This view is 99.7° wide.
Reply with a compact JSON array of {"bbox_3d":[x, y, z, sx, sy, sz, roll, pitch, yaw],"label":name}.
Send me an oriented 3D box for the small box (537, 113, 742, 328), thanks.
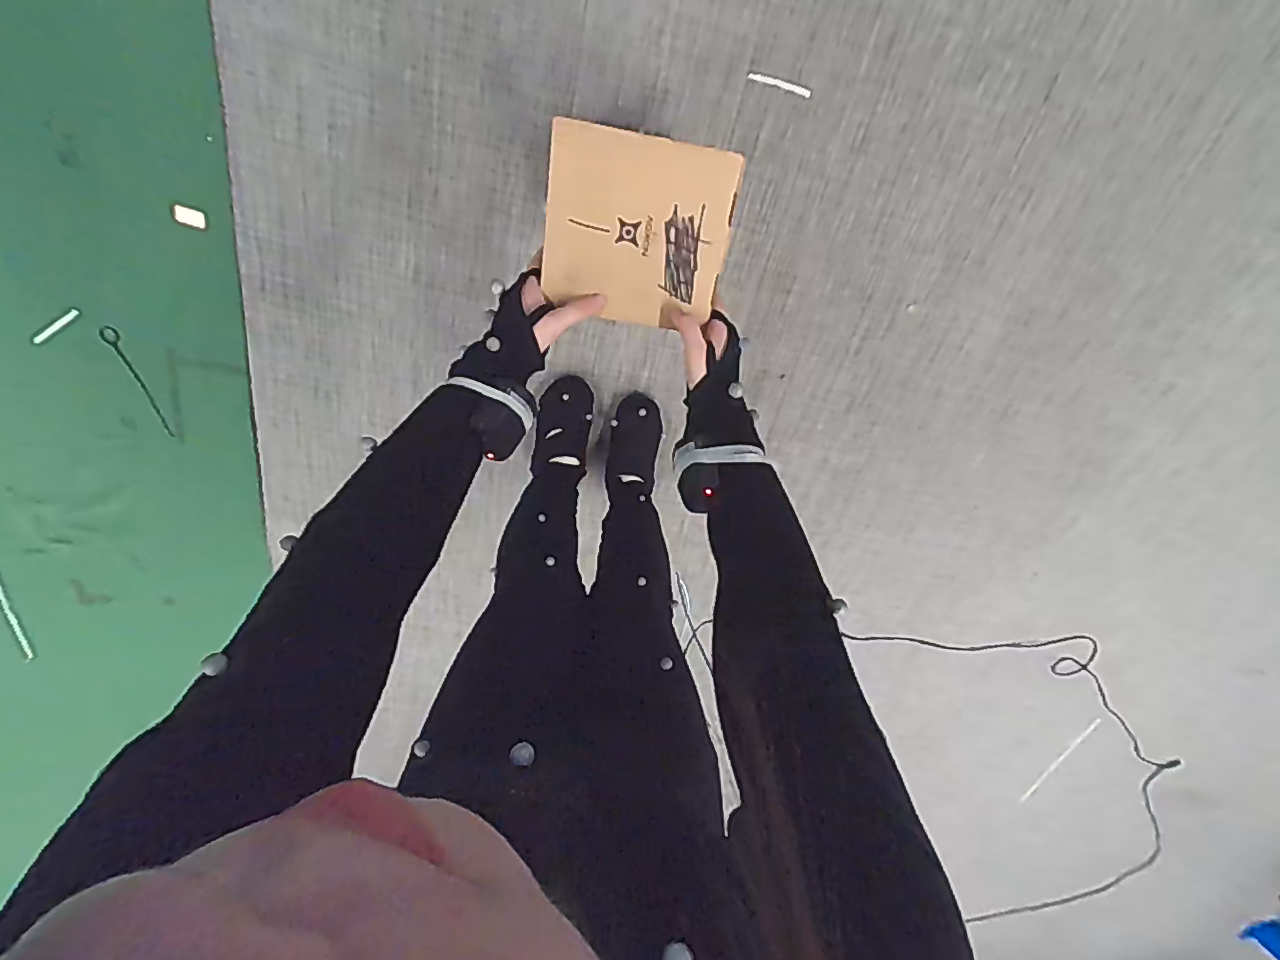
[{"bbox_3d":[-0.008,-0.278,0.591,0.179,0.176,0.168,8,117,-6],"label":"small box"}]
